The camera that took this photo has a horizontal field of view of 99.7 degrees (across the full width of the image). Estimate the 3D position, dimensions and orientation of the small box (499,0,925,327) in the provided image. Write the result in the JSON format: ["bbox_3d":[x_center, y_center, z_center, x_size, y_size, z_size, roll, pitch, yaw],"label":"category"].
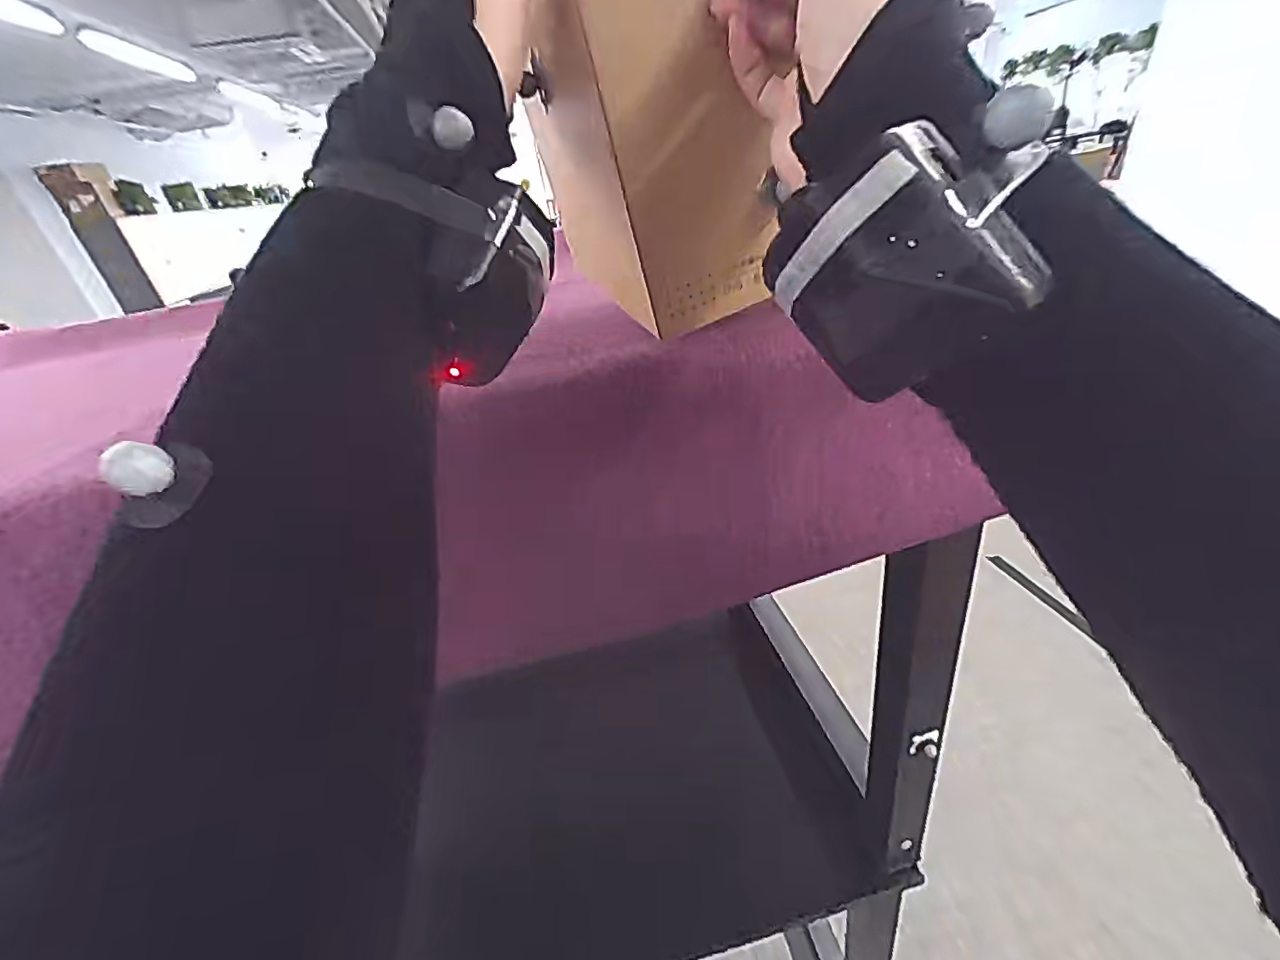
[{"bbox_3d":[0.035,-0.212,0.321,0.168,0.176,0.179,-25,39,-8],"label":"small box"}]
